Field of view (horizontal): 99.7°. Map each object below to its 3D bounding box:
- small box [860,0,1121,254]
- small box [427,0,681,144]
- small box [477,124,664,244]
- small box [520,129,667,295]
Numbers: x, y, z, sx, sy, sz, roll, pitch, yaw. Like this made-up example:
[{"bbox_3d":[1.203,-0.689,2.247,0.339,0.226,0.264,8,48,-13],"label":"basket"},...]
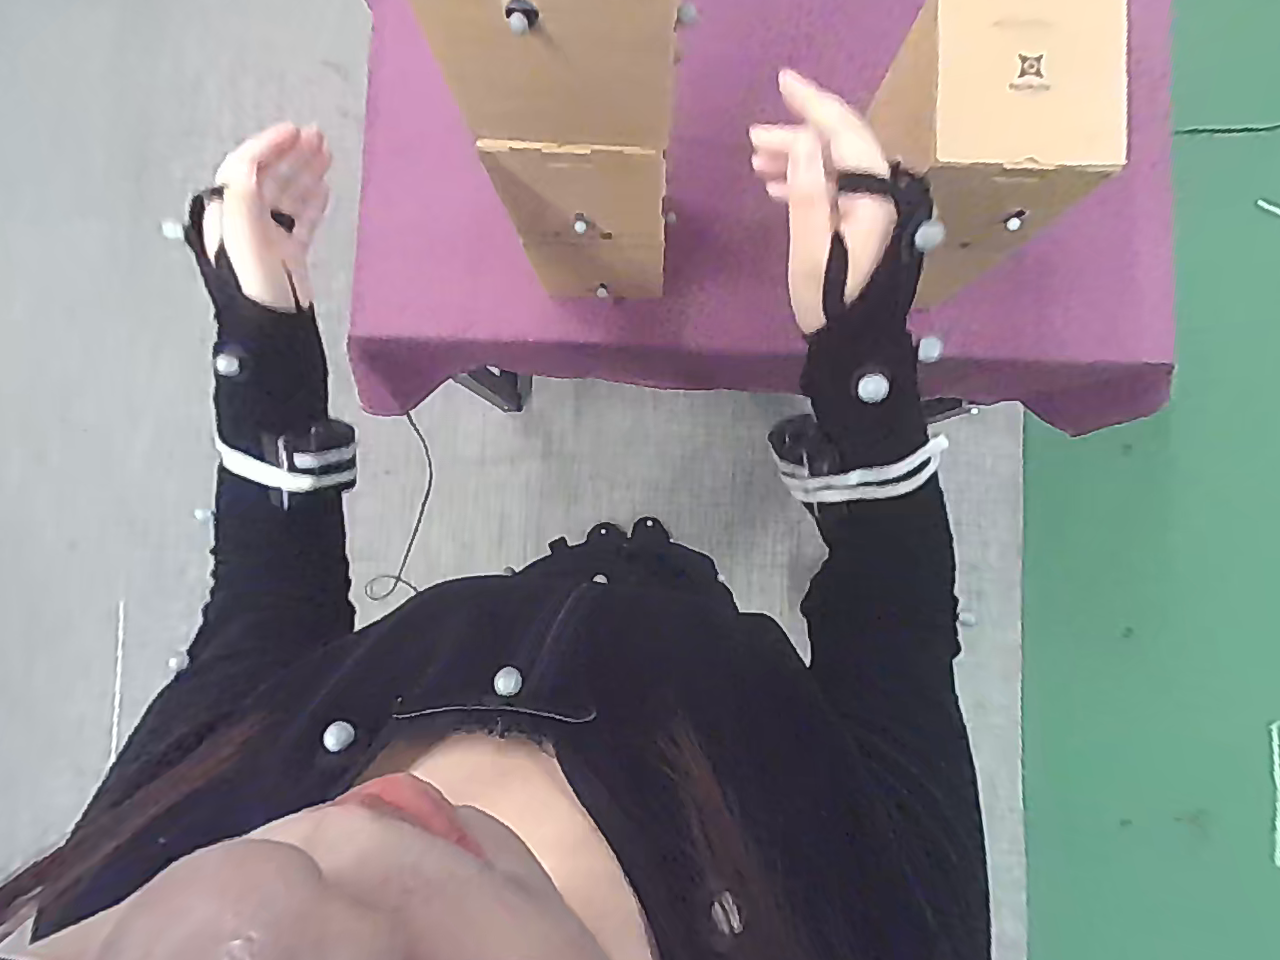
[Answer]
[{"bbox_3d":[0.342,-0.354,0.559,0.168,0.176,0.179,3,87,1],"label":"small box"},{"bbox_3d":[-0.057,-0.386,0.404,0.179,0.176,0.168,5,87,1],"label":"small box"},{"bbox_3d":[-0.059,-0.376,0.568,0.168,0.176,0.179,3,87,2],"label":"small box"},{"bbox_3d":[-0.056,-0.363,0.733,0.179,0.176,0.168,1,87,1],"label":"small box"}]
